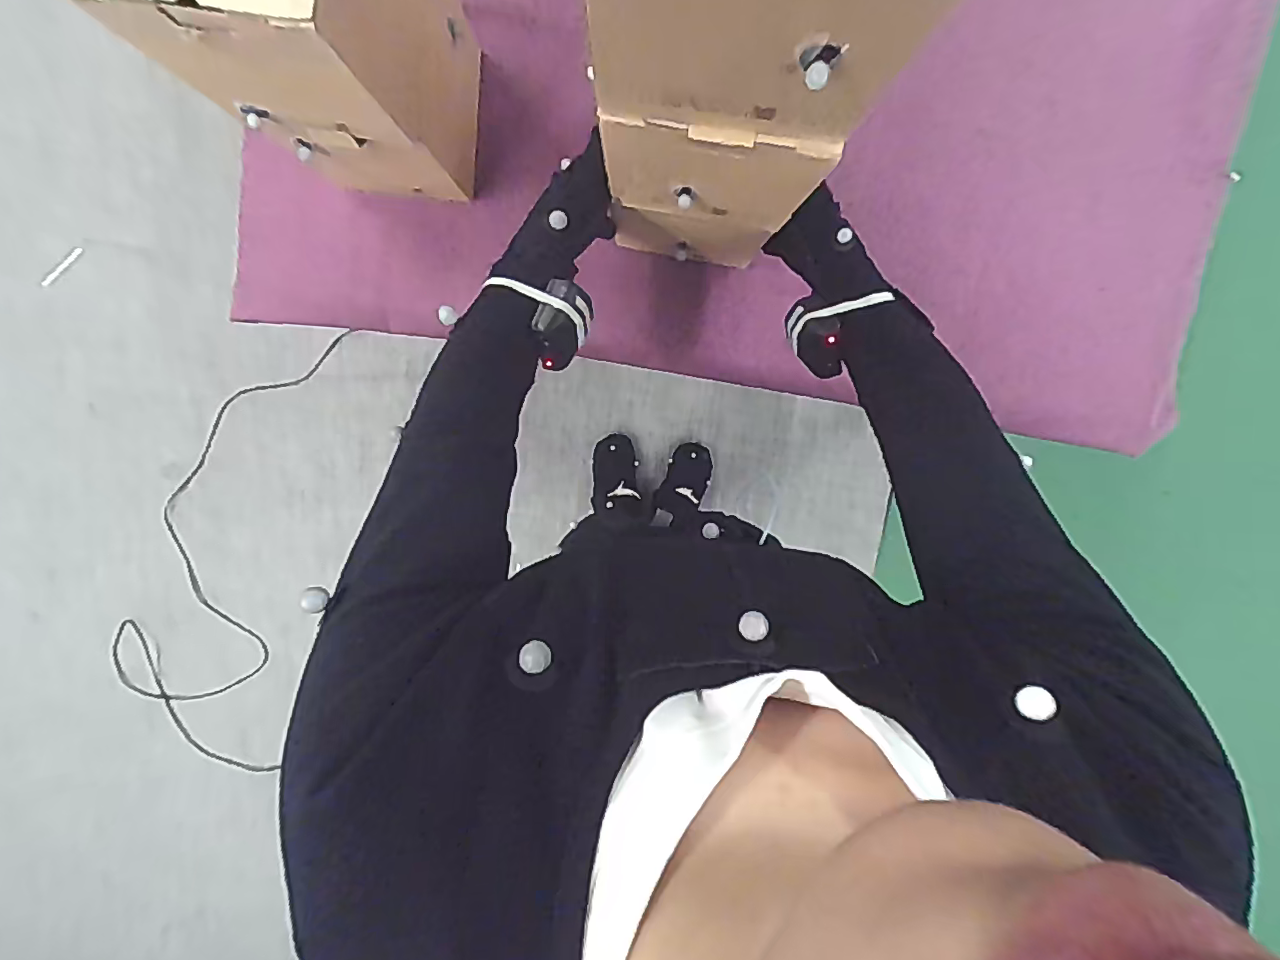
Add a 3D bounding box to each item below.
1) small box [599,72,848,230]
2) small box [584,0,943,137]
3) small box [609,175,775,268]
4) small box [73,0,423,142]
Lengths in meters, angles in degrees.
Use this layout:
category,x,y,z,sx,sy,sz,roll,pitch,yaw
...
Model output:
category,x,y,z,sx,sy,sz,roll,pitch,yaw
small box,0.065,-0.320,0.419,0.168,0.176,0.179,9,100,-2
small box,0.064,-0.297,0.257,0.168,0.176,0.179,7,100,-2
small box,0.065,-0.347,0.580,0.168,0.176,0.179,10,100,-1
small box,-0.279,-0.394,0.411,0.168,0.176,0.179,9,99,-4
